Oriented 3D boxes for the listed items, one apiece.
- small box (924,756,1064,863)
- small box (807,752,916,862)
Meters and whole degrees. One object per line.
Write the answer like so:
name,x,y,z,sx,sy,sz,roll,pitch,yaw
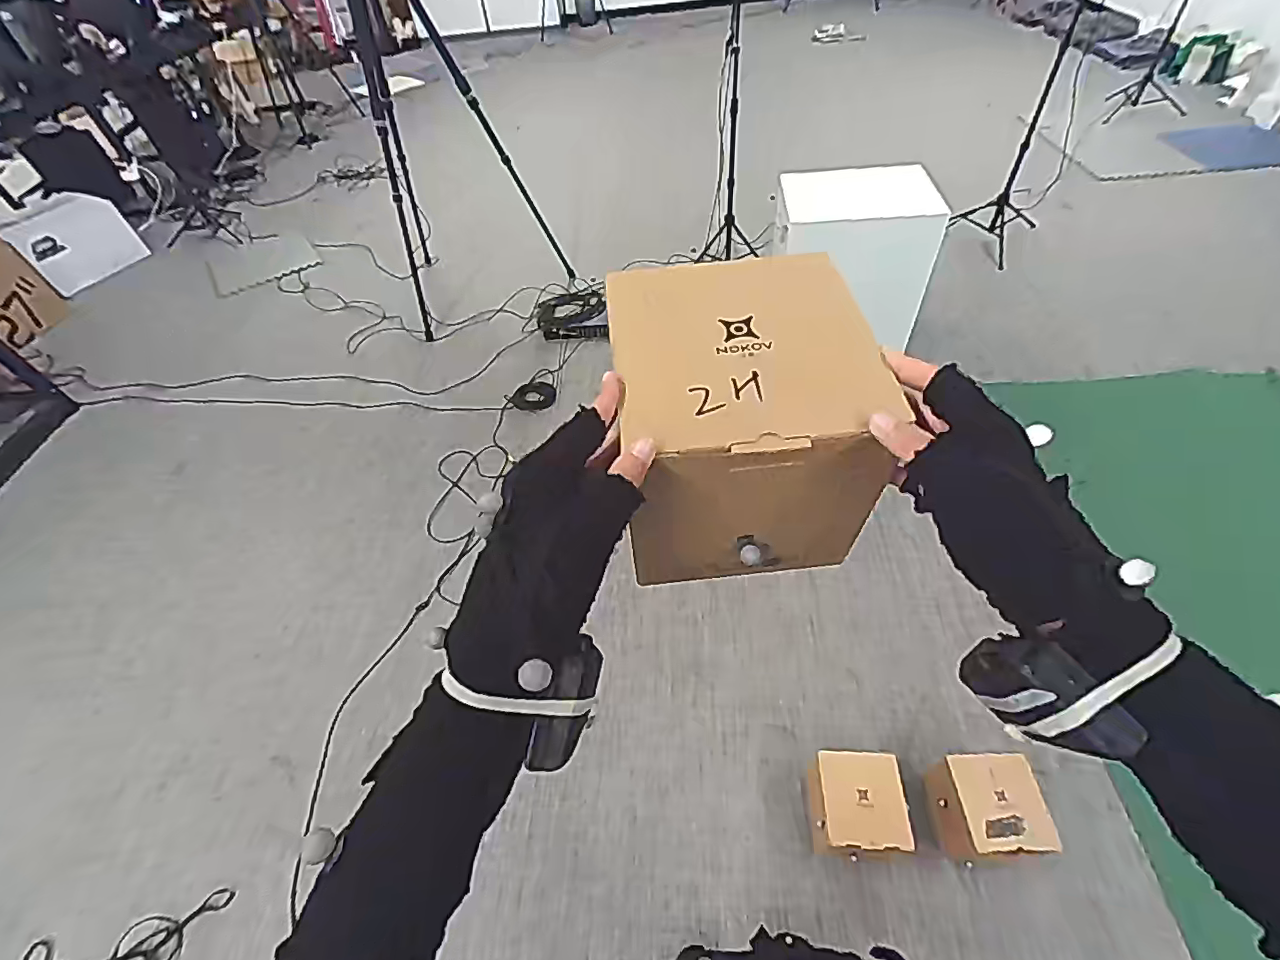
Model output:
small box,0.734,0.699,1.143,0.168,0.176,0.179,-3,49,4
small box,0.466,0.706,1.168,0.168,0.176,0.179,0,50,6
